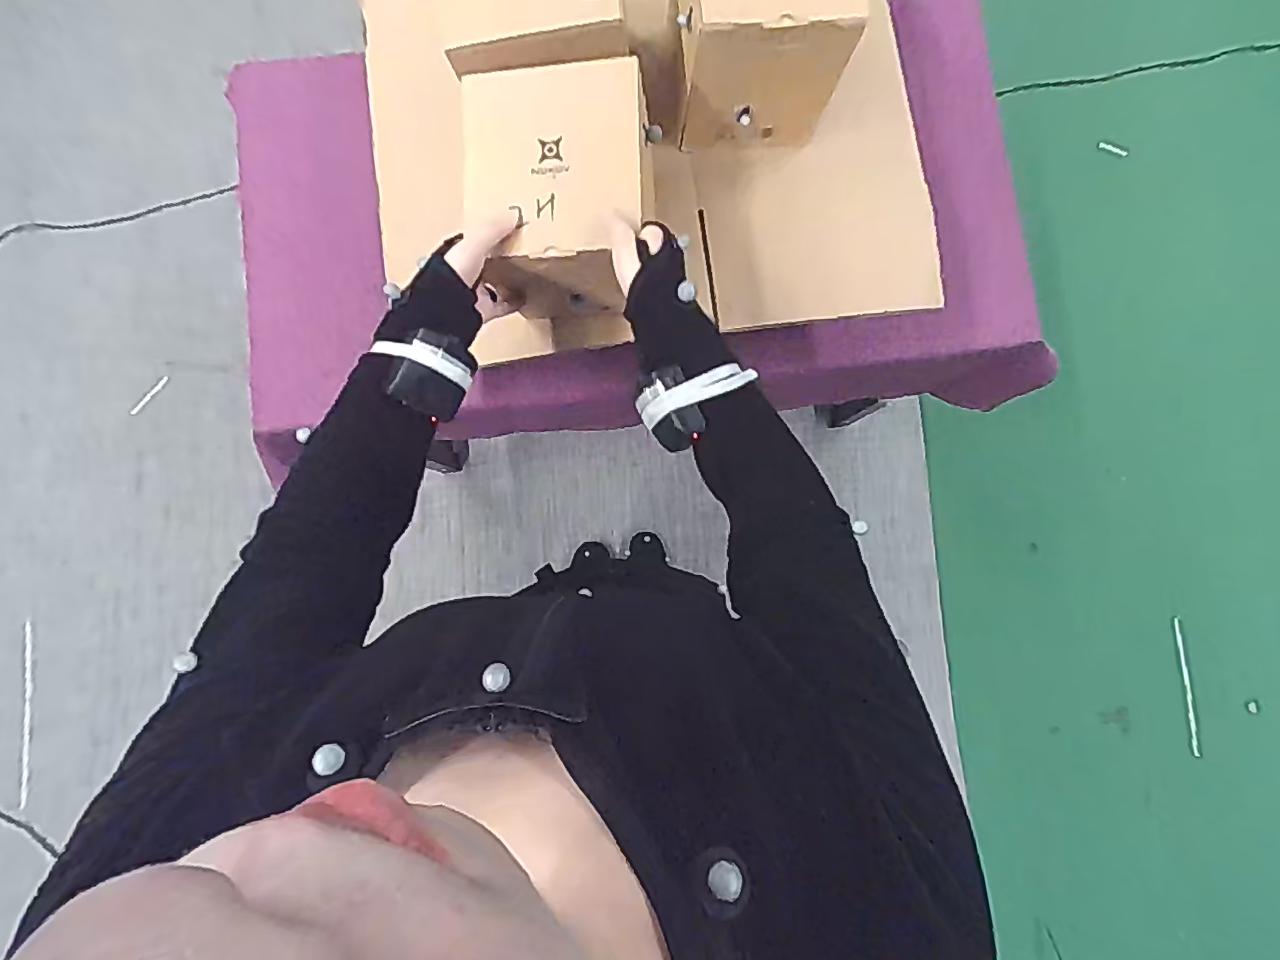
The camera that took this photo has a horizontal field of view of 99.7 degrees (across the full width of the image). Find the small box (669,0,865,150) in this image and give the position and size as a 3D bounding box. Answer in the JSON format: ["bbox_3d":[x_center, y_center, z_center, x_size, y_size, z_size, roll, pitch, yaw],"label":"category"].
[{"bbox_3d":[0.127,-0.510,0.608,0.168,0.176,0.179,-5,85,-4],"label":"small box"}]
